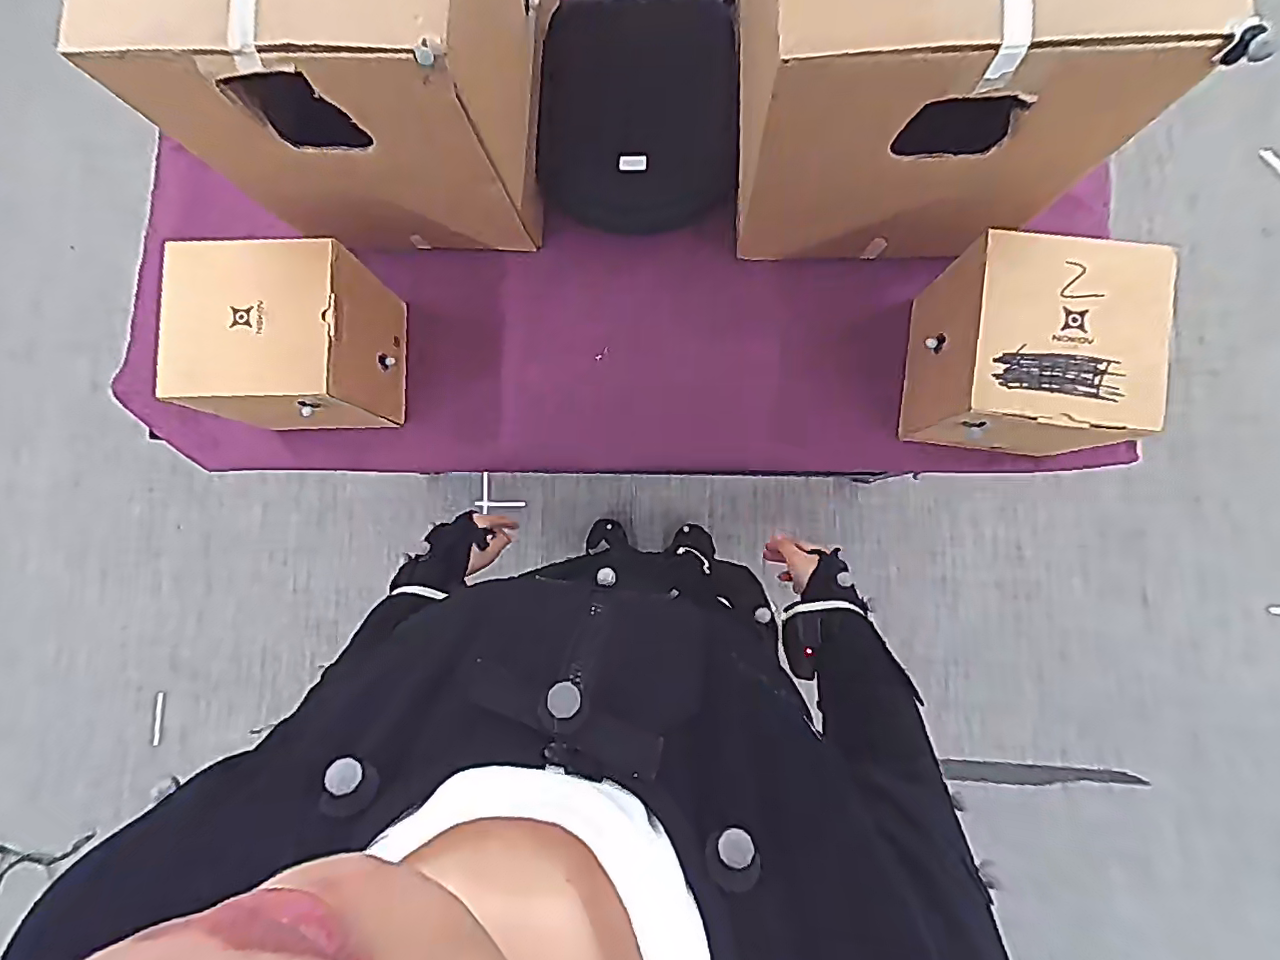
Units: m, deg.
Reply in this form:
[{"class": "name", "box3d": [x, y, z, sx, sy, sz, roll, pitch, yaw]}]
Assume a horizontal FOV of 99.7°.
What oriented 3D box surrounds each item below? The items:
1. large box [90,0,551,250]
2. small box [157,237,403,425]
[{"class": "large box", "box3d": [-0.281, -0.514, 0.584, 0.320, 0.320, 0.408, 3, 89, 4]}, {"class": "small box", "box3d": [-0.402, -0.161, 0.632, 0.179, 0.176, 0.168, -2, 85, 0]}]
